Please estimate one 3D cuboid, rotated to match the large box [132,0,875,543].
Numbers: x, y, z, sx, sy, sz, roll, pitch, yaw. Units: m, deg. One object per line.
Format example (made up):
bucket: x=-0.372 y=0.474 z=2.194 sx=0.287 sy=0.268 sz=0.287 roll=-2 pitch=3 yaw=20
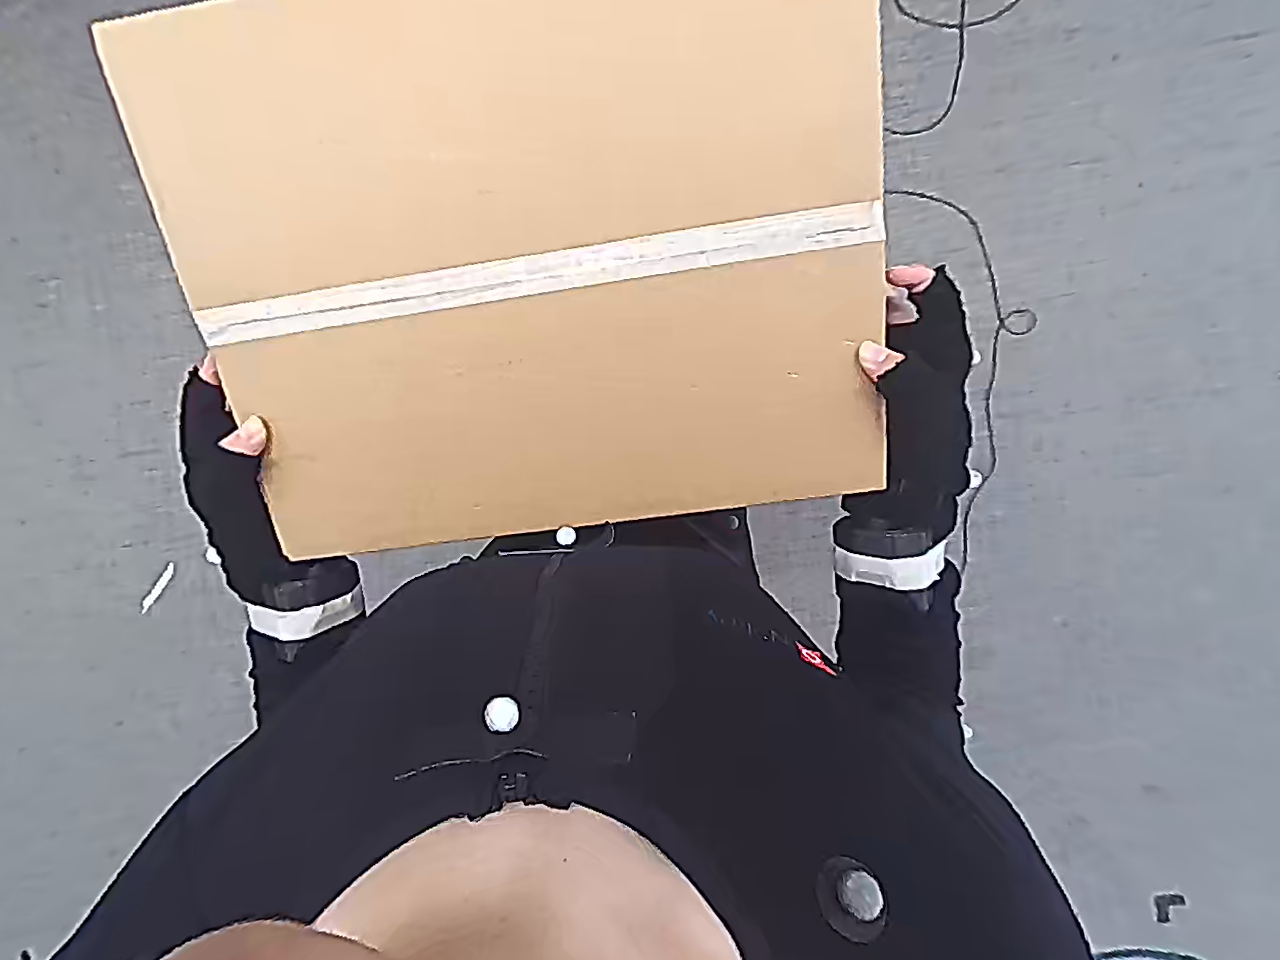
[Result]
large box: x=-0.062 y=-0.169 z=0.466 sx=0.408 sy=0.320 sz=0.320 roll=-7 pitch=108 yaw=4
